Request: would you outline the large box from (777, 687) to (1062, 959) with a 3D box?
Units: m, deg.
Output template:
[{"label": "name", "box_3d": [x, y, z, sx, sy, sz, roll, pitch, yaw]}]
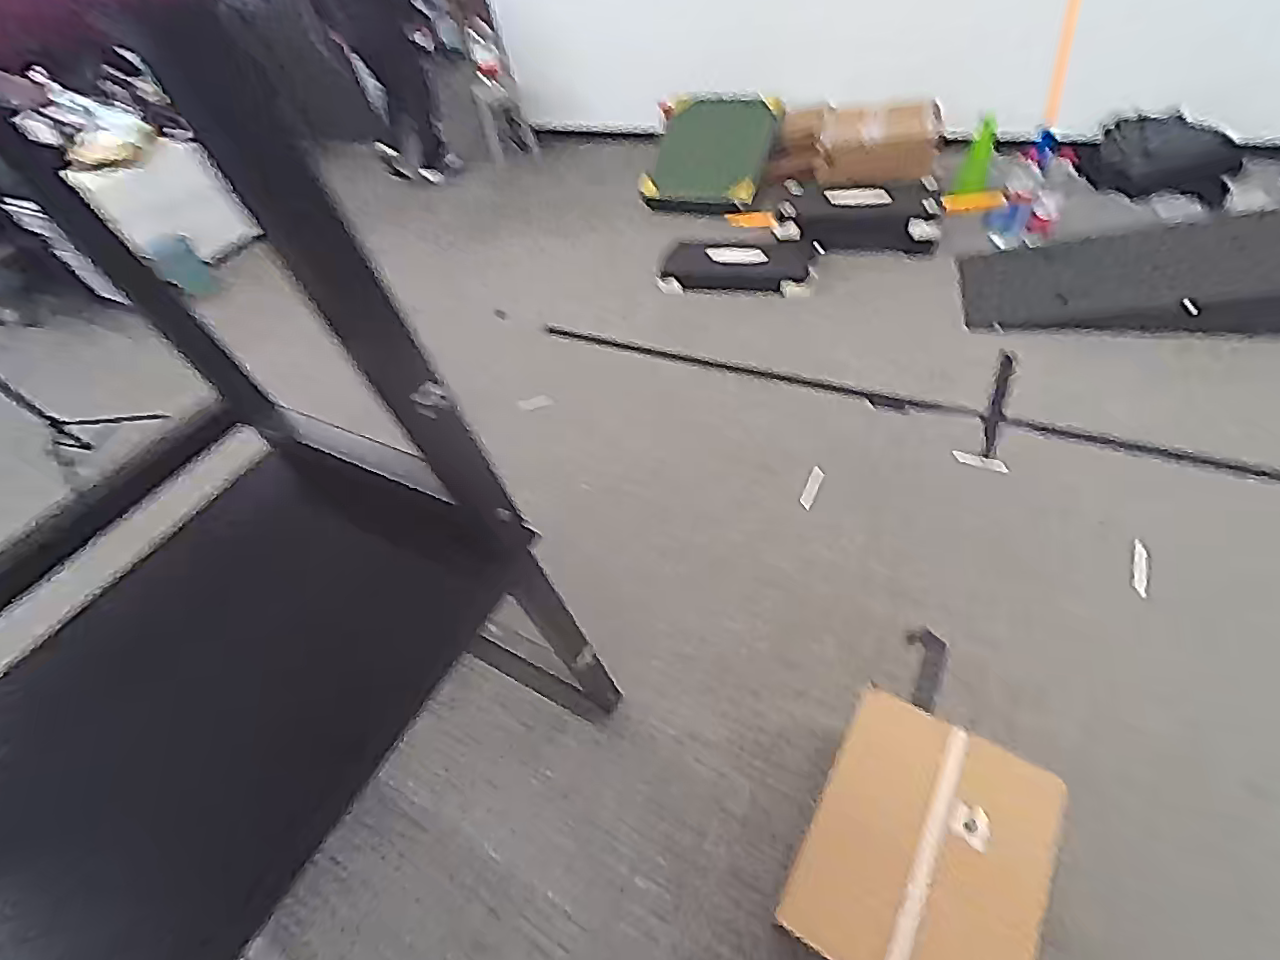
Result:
[{"label": "large box", "box_3d": [0.460, 0.659, 0.938, 0.320, 0.320, 0.408, 23, 58, 26]}]
